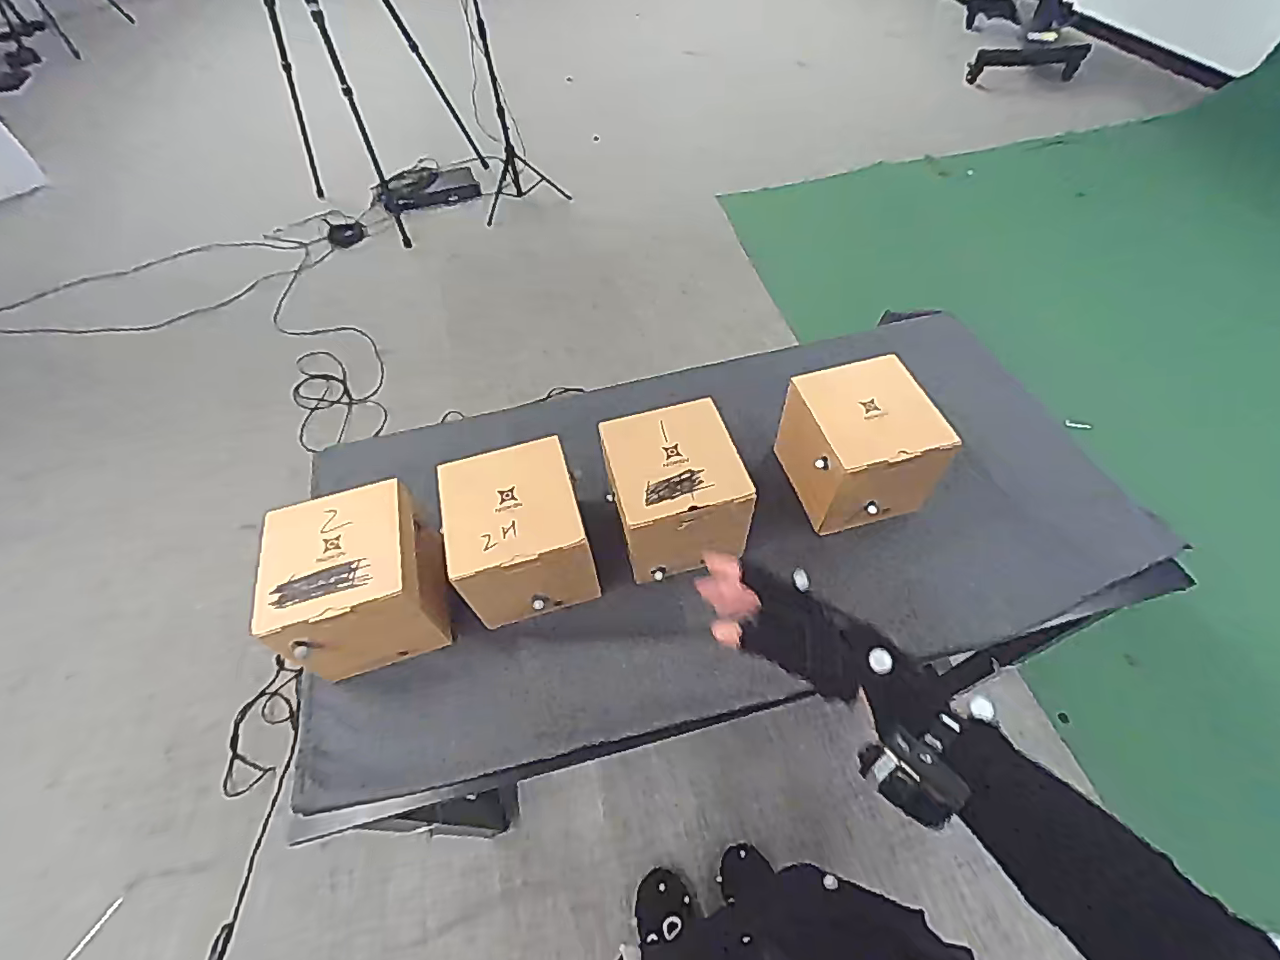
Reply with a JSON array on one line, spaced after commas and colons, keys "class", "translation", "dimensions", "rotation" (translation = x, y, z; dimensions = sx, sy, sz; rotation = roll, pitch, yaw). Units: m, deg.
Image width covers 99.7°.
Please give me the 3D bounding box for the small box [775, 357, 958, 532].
[{"class": "small box", "translation": [0.317, -0.050, 0.804], "dimensions": [0.168, 0.176, 0.179], "rotation": [-14, 56, -6]}]
